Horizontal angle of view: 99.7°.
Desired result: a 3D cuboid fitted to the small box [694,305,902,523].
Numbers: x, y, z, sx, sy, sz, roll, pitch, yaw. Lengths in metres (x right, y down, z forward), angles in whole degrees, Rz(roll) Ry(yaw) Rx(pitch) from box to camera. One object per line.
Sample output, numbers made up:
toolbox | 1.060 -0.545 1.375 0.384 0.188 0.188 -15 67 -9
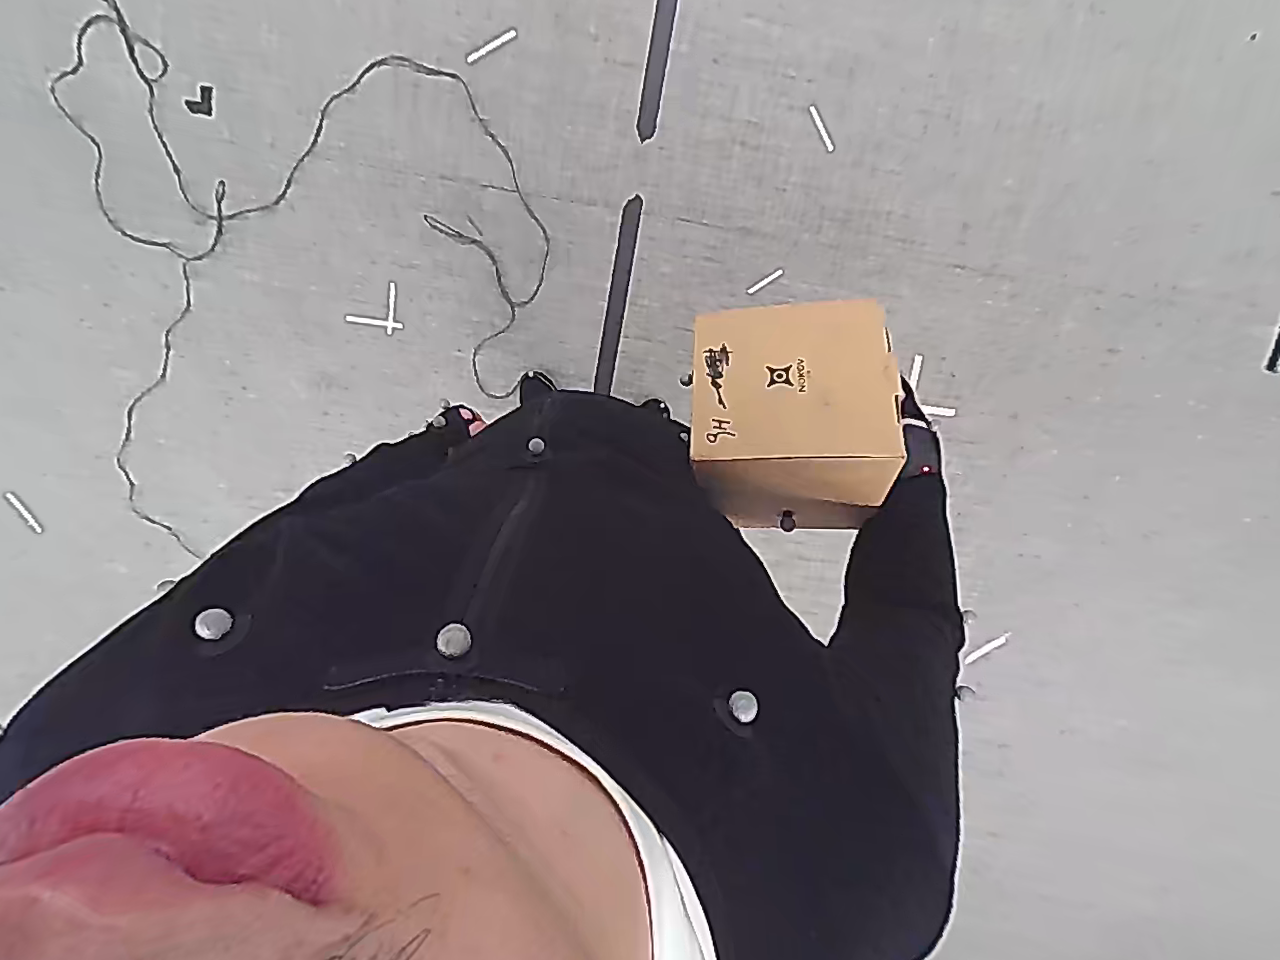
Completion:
small box | 0.153 -0.060 0.567 0.179 0.176 0.168 0 64 11
